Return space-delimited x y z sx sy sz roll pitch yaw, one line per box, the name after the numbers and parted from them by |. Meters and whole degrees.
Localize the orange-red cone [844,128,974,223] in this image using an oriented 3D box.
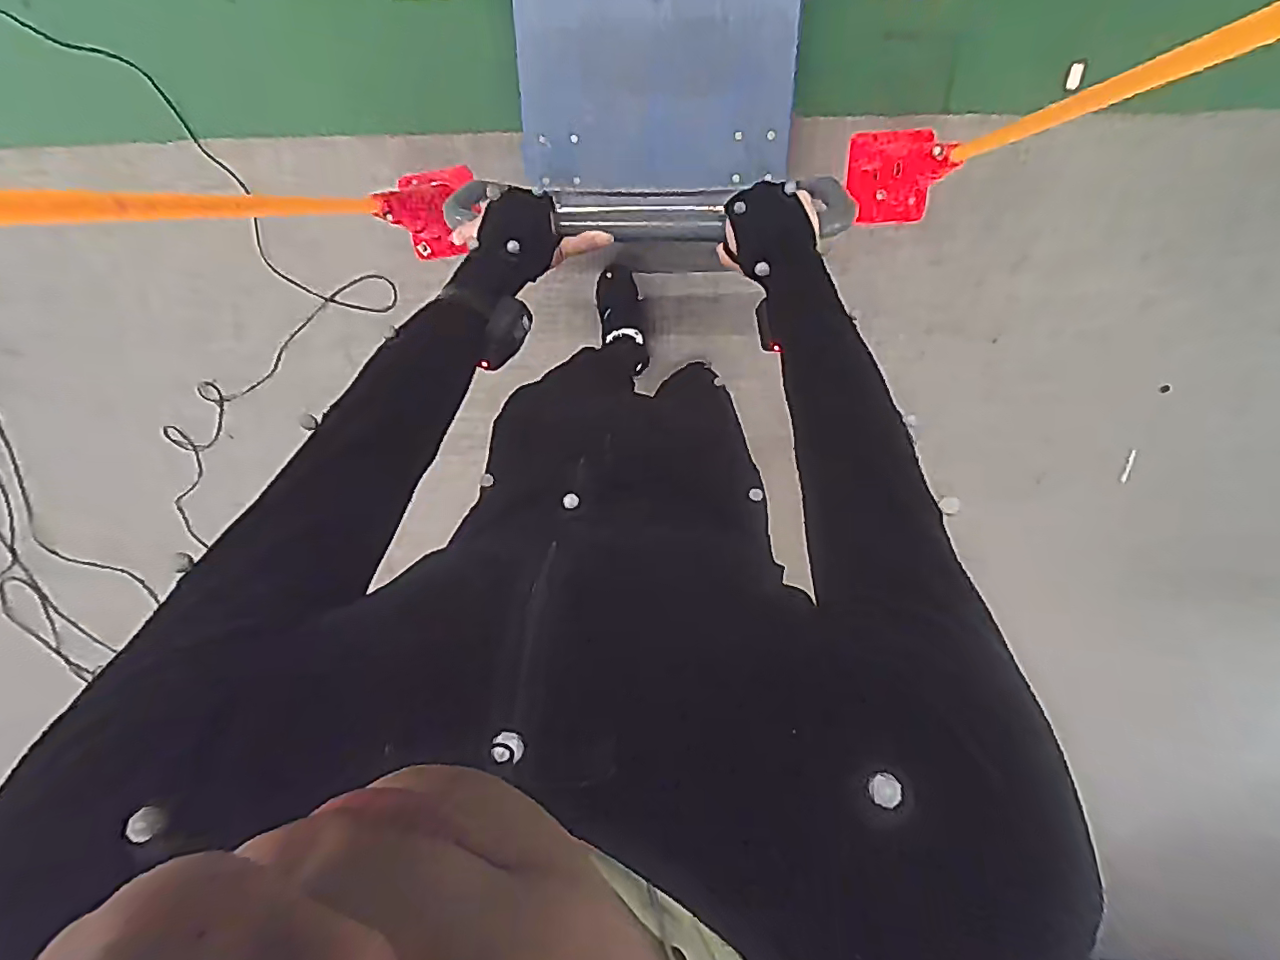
0.589 -0.663 1.136 0.198 0.360 0.199 0 112 2 | orange-red cone
